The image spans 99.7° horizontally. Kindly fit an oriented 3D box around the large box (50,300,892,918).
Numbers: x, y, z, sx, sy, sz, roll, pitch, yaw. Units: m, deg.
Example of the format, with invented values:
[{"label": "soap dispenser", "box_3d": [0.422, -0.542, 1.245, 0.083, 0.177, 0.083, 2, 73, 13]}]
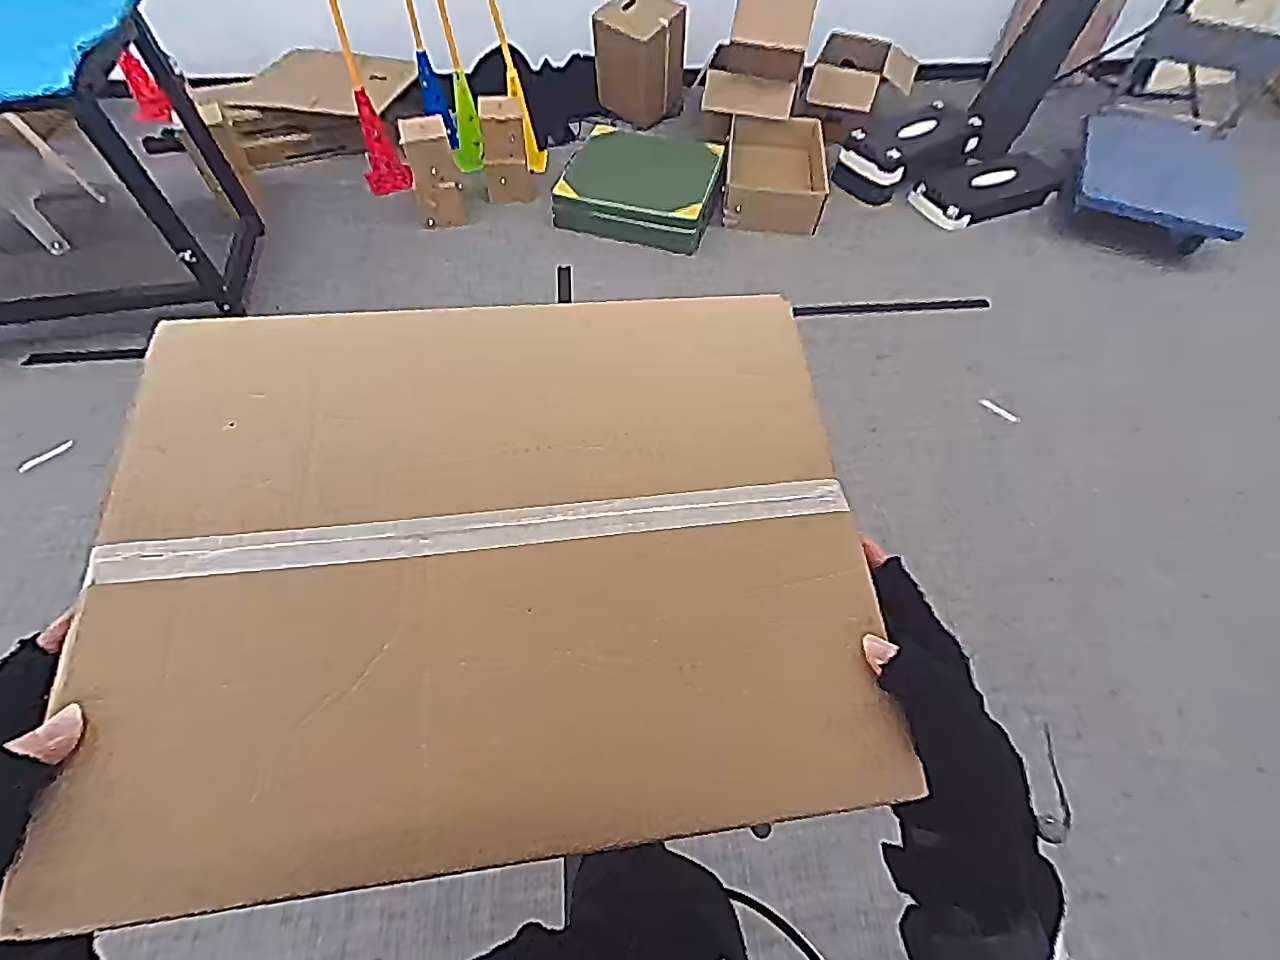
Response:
[{"label": "large box", "box_3d": [-0.091, 0.086, 0.449, 0.408, 0.320, 0.320, -5, 67, -6]}]
